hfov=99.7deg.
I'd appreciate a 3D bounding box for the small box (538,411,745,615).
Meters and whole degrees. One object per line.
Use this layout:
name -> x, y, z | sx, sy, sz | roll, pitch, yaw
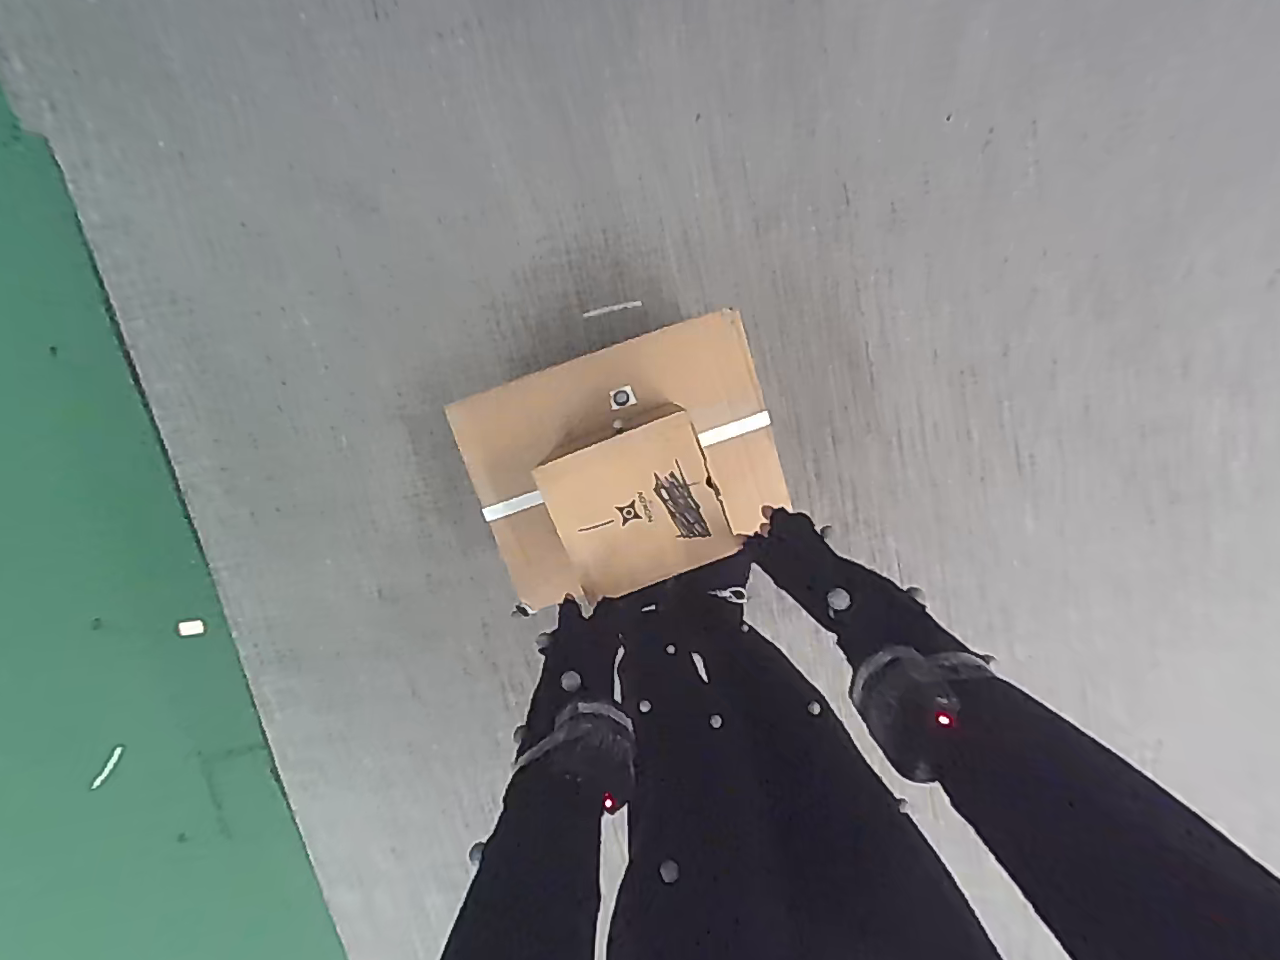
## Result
small box -> 0.000, 0.025, 0.644 | 0.179, 0.176, 0.168 | -24, 100, 3
